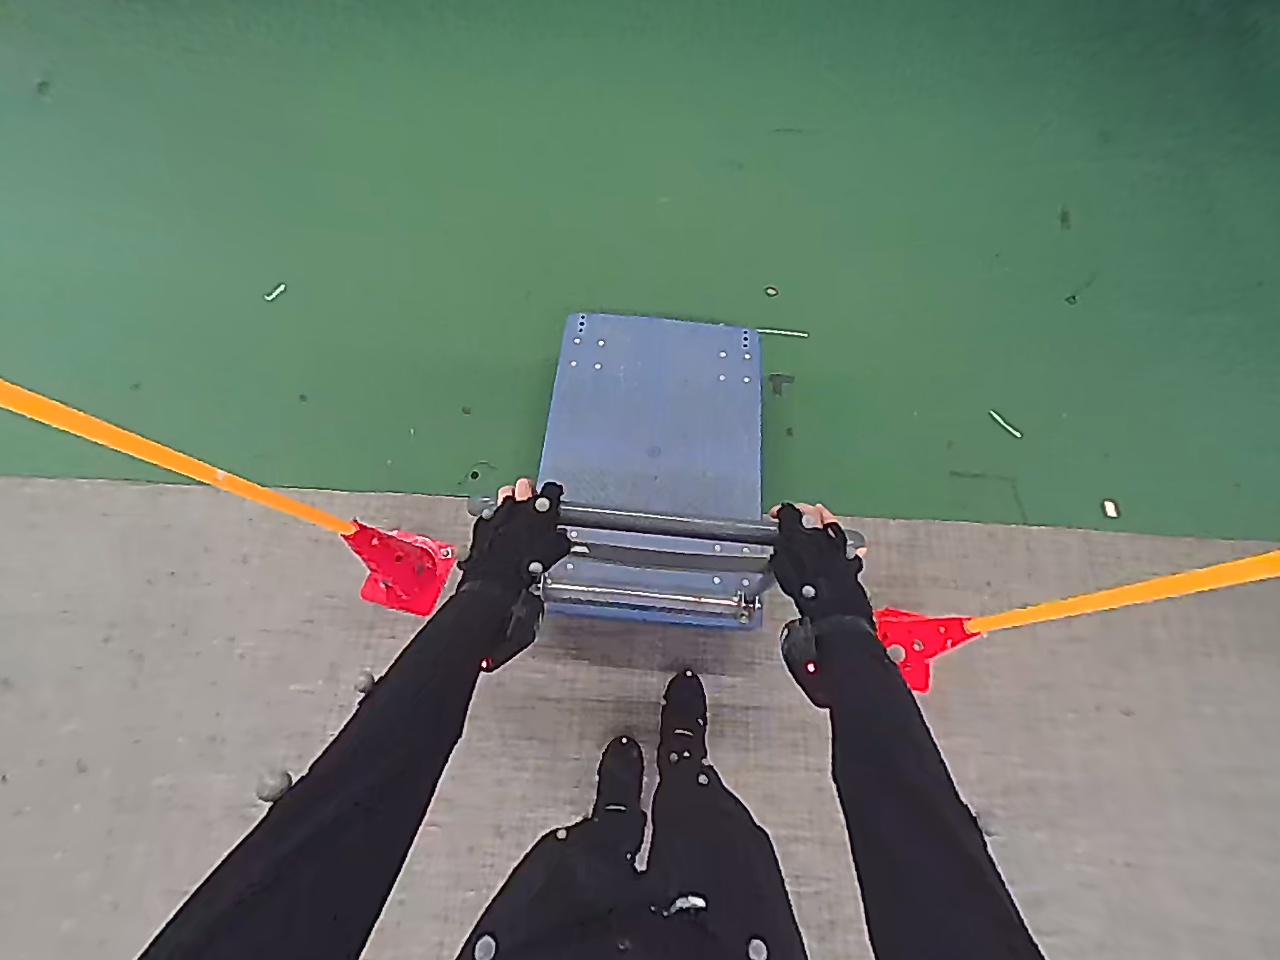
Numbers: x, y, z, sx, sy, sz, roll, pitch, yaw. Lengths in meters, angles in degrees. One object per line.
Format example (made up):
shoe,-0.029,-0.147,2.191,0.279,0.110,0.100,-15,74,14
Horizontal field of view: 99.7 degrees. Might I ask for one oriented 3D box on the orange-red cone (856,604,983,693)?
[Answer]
orange-red cone,0.674,0.369,1.255,0.198,0.360,0.199,13,67,4
